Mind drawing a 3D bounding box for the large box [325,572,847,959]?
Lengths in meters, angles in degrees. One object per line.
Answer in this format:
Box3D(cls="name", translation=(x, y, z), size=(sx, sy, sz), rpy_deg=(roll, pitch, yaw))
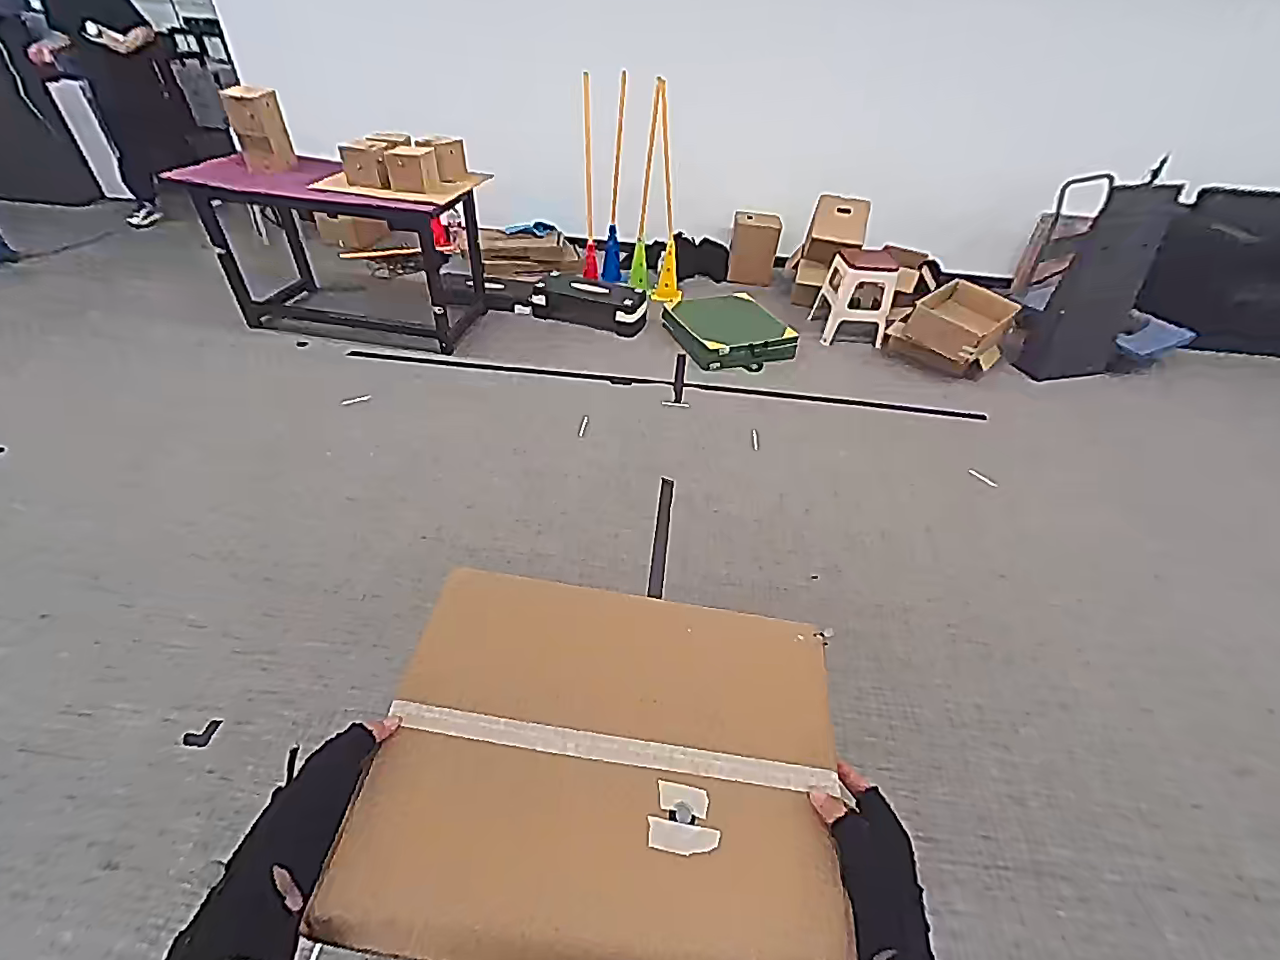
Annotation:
Box3D(cls="large box", translation=(-0.039, 0.341, 0.608), size=(0.408, 0.320, 0.320), rpy_deg=(10, 49, 1))
